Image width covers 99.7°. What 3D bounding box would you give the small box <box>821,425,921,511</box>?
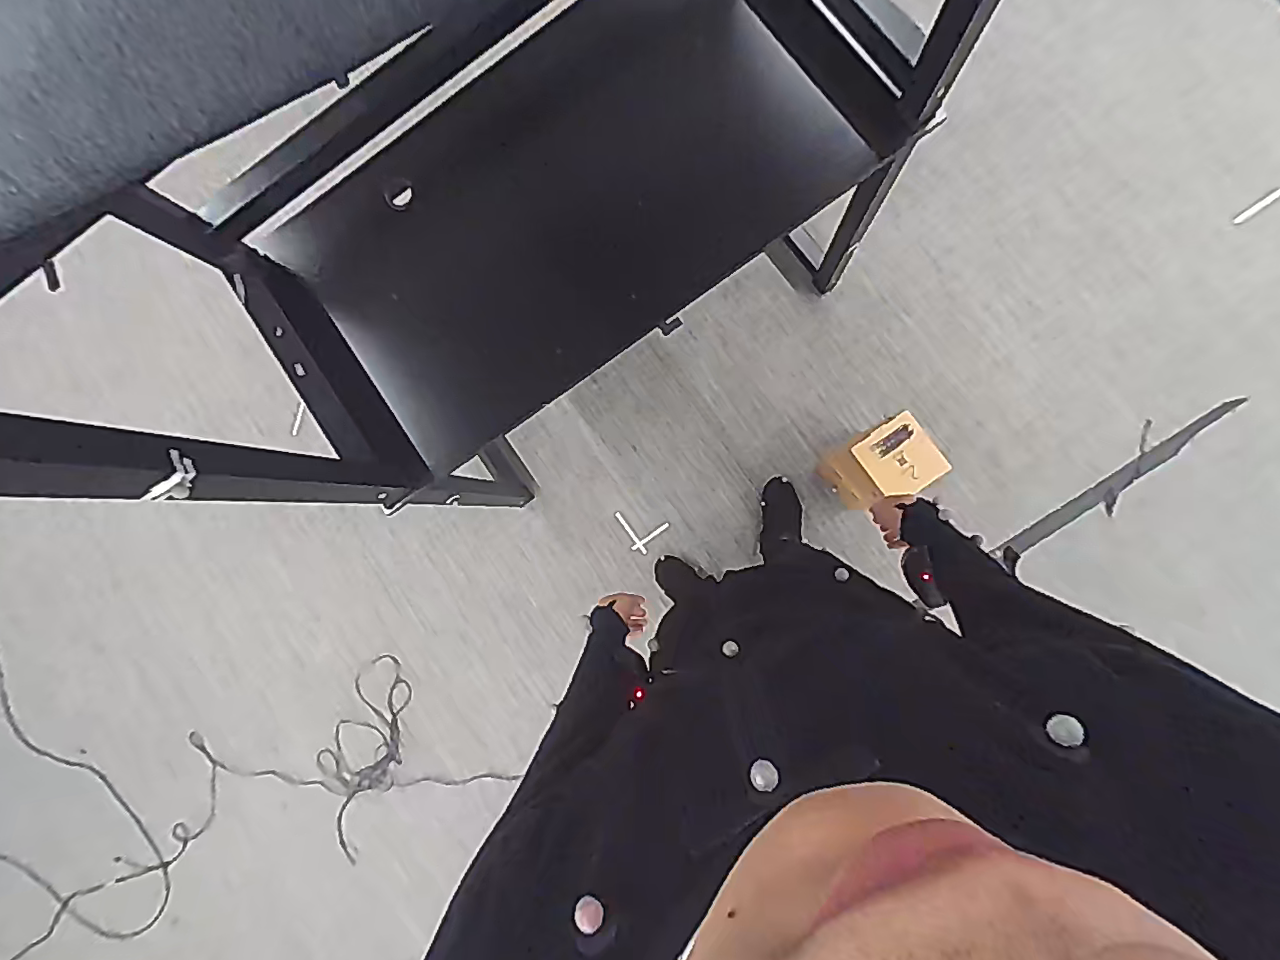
[{"bbox_3d":[0.637,-0.029,1.515,0.179,0.176,0.168,-37,83,4],"label":"small box"}]
